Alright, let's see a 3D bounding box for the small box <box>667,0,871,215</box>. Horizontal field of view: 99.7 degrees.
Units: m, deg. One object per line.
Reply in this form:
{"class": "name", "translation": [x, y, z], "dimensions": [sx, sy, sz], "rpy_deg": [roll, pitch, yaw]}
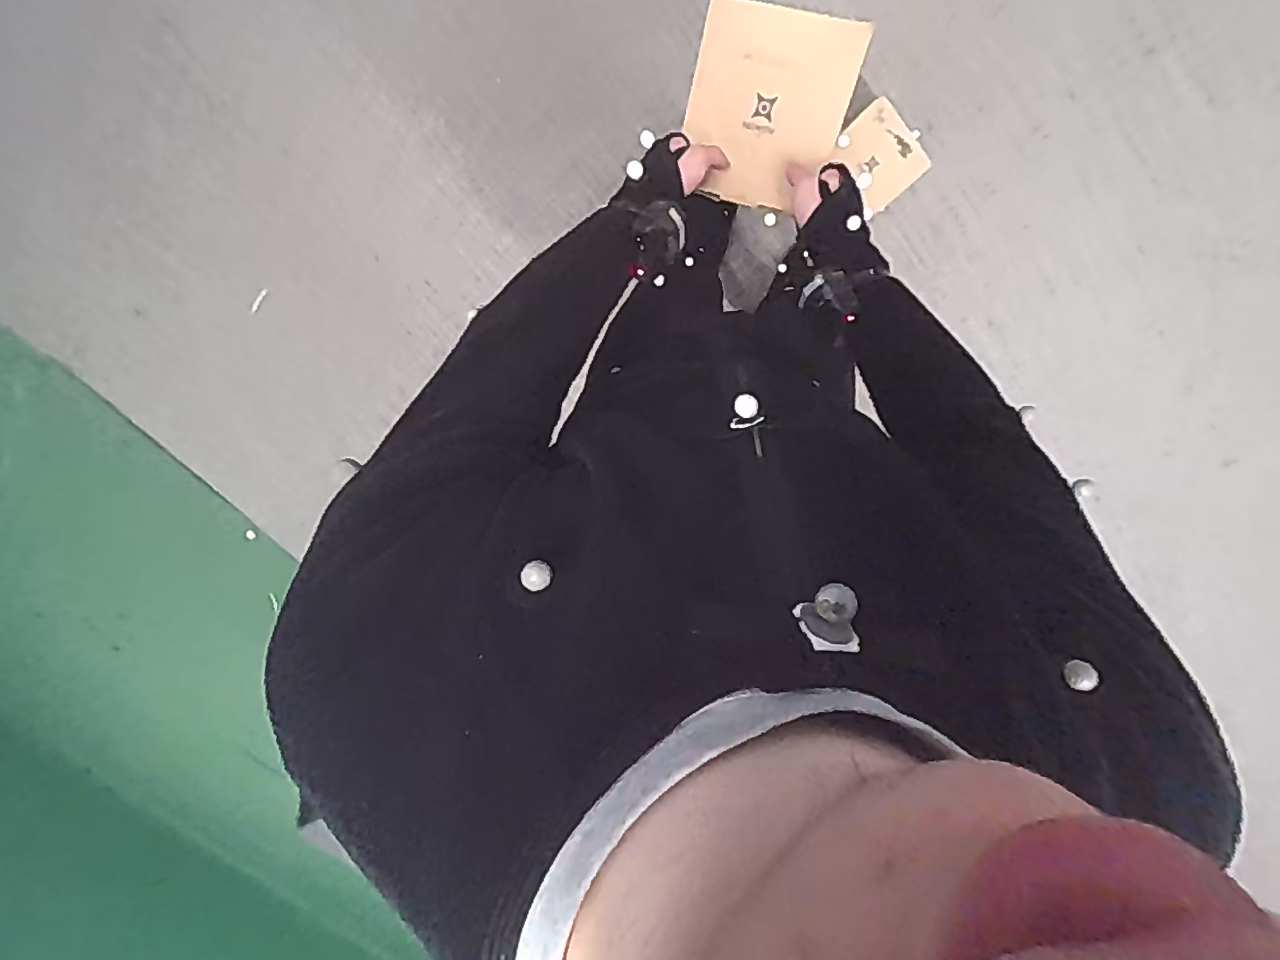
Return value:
{"class": "small box", "translation": [0.144, -0.417, 0.622], "dimensions": [0.168, 0.176, 0.179], "rpy_deg": [18, 117, 7]}
